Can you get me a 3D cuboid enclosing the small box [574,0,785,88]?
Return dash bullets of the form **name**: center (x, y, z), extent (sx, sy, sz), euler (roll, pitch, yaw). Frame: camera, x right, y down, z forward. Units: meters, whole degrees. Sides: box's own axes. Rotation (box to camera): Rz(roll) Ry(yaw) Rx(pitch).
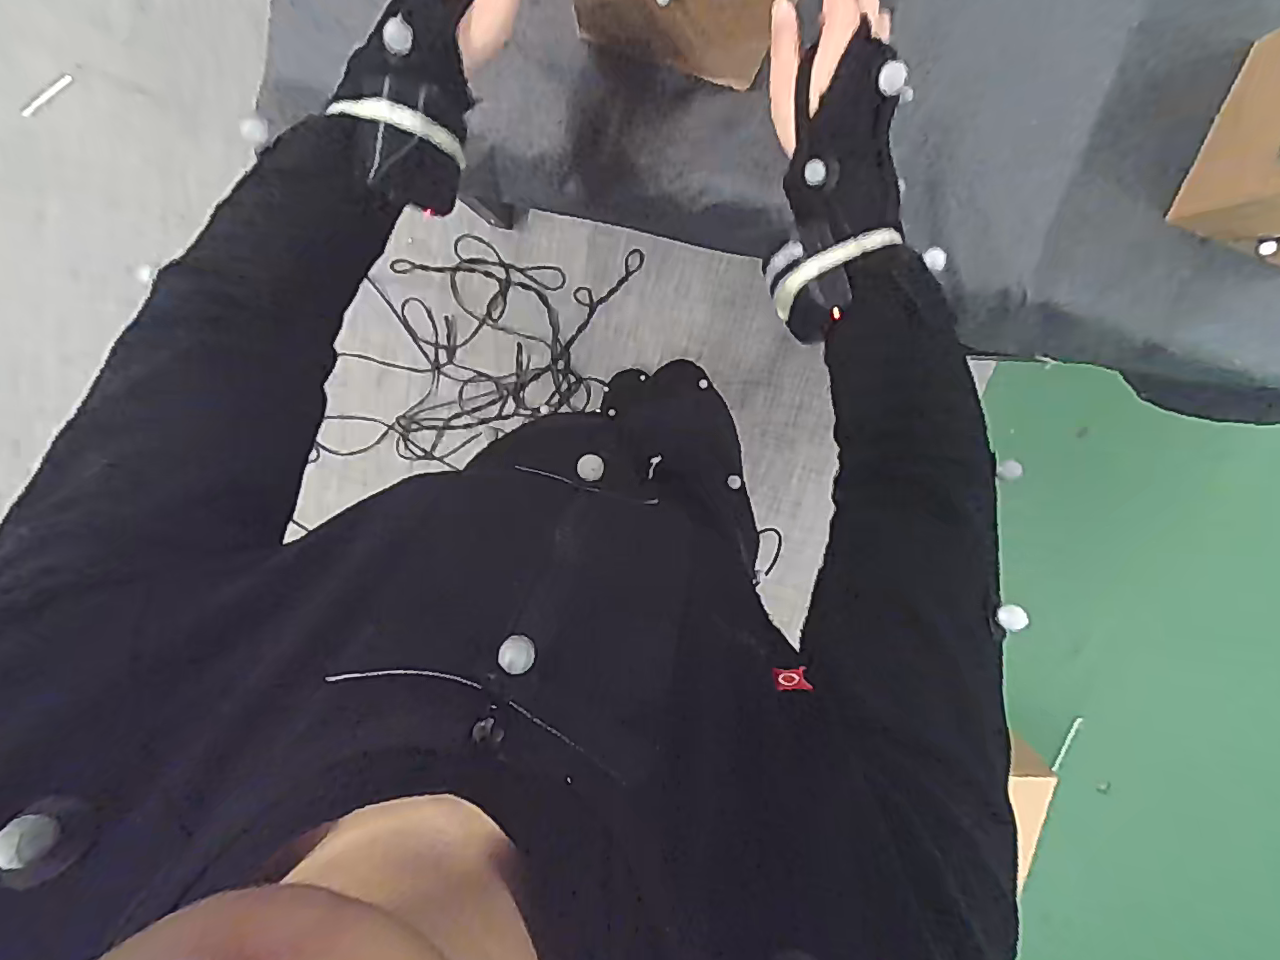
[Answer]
- **small box**: center (0.044, -0.456, 0.431), extent (0.179, 0.176, 0.168), euler (14, 104, -6)
